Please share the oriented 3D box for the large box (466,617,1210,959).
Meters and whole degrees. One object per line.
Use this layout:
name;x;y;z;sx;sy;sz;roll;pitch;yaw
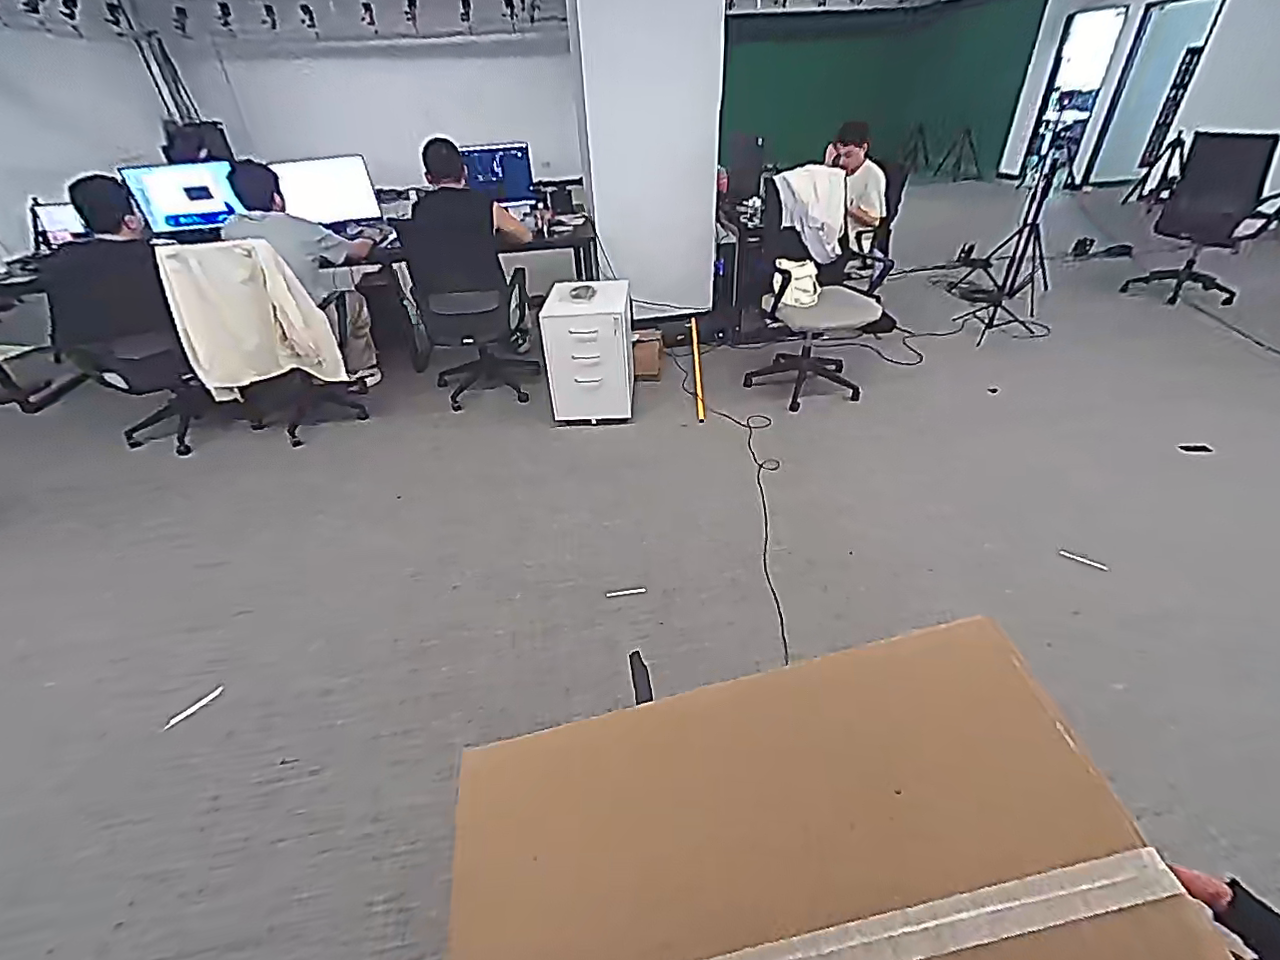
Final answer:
large box;0.122;0.359;0.415;0.408;0.320;0.320;-16;47;3
